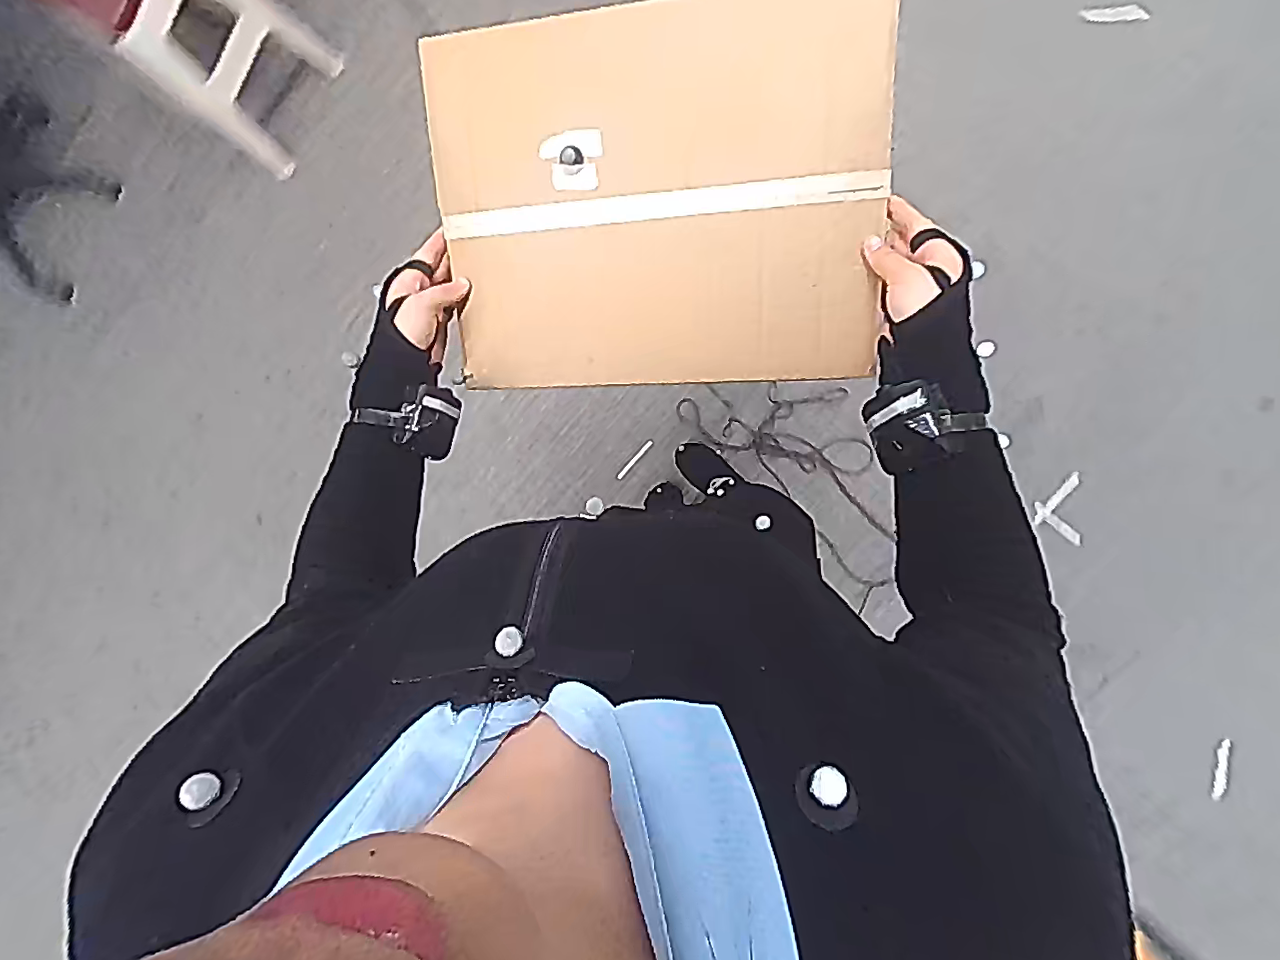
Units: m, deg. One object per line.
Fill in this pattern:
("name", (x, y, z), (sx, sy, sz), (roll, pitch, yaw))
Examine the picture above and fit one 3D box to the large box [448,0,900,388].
("large box", (0.050, -0.286, 0.643), (0.408, 0.320, 0.320), (1, 105, 11))
